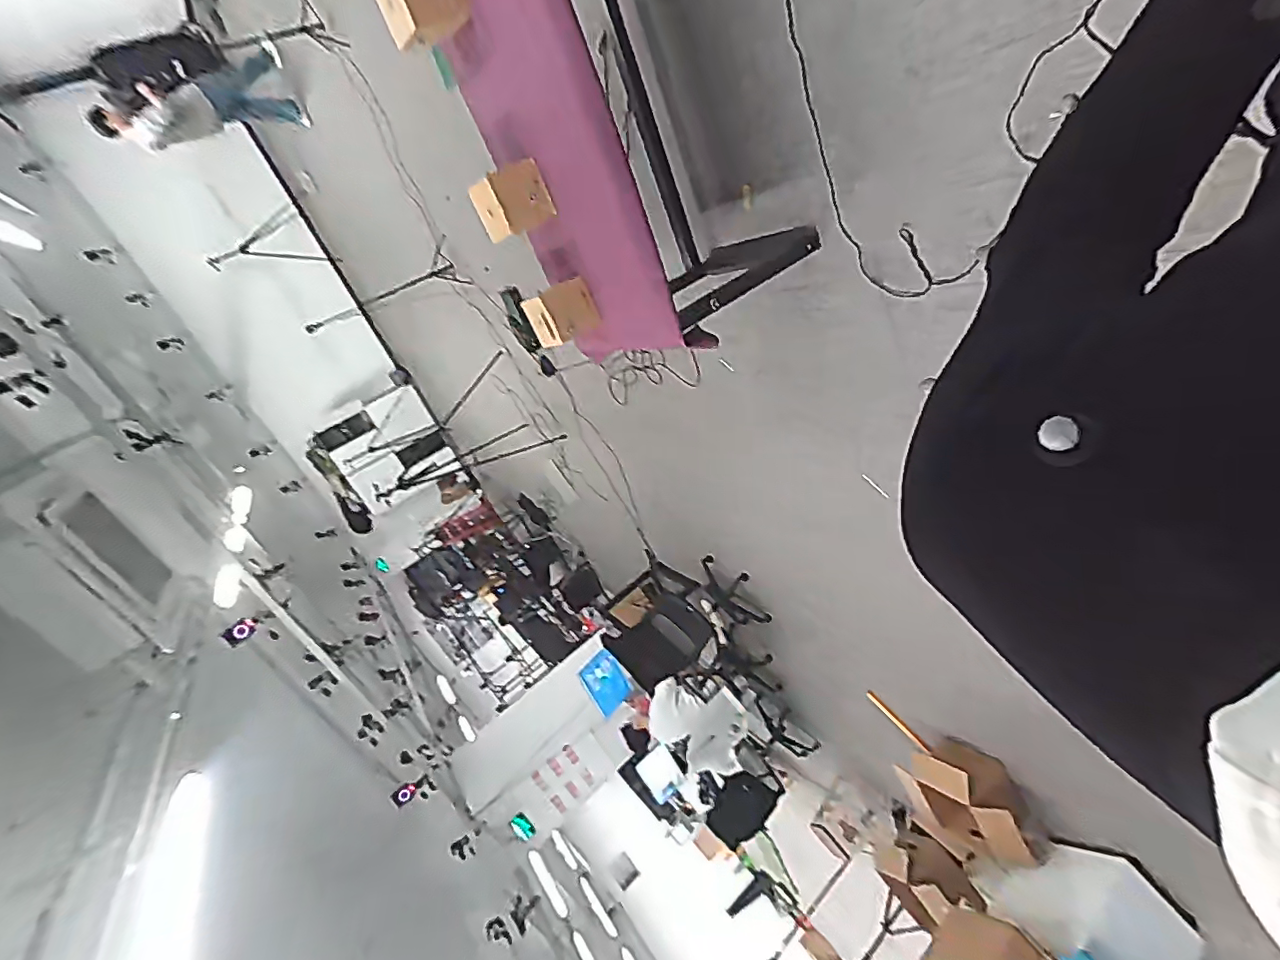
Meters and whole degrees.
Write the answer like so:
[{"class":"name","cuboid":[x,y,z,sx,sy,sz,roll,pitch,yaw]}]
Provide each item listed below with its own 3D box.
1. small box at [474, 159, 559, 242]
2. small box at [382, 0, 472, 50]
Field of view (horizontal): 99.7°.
[{"class":"small box","cuboid":[-0.379,-0.859,1.667,0.179,0.176,0.168,17,138,55]},{"class":"small box","cuboid":[-0.572,-1.281,1.430,0.179,0.176,0.168,24,144,50]}]
